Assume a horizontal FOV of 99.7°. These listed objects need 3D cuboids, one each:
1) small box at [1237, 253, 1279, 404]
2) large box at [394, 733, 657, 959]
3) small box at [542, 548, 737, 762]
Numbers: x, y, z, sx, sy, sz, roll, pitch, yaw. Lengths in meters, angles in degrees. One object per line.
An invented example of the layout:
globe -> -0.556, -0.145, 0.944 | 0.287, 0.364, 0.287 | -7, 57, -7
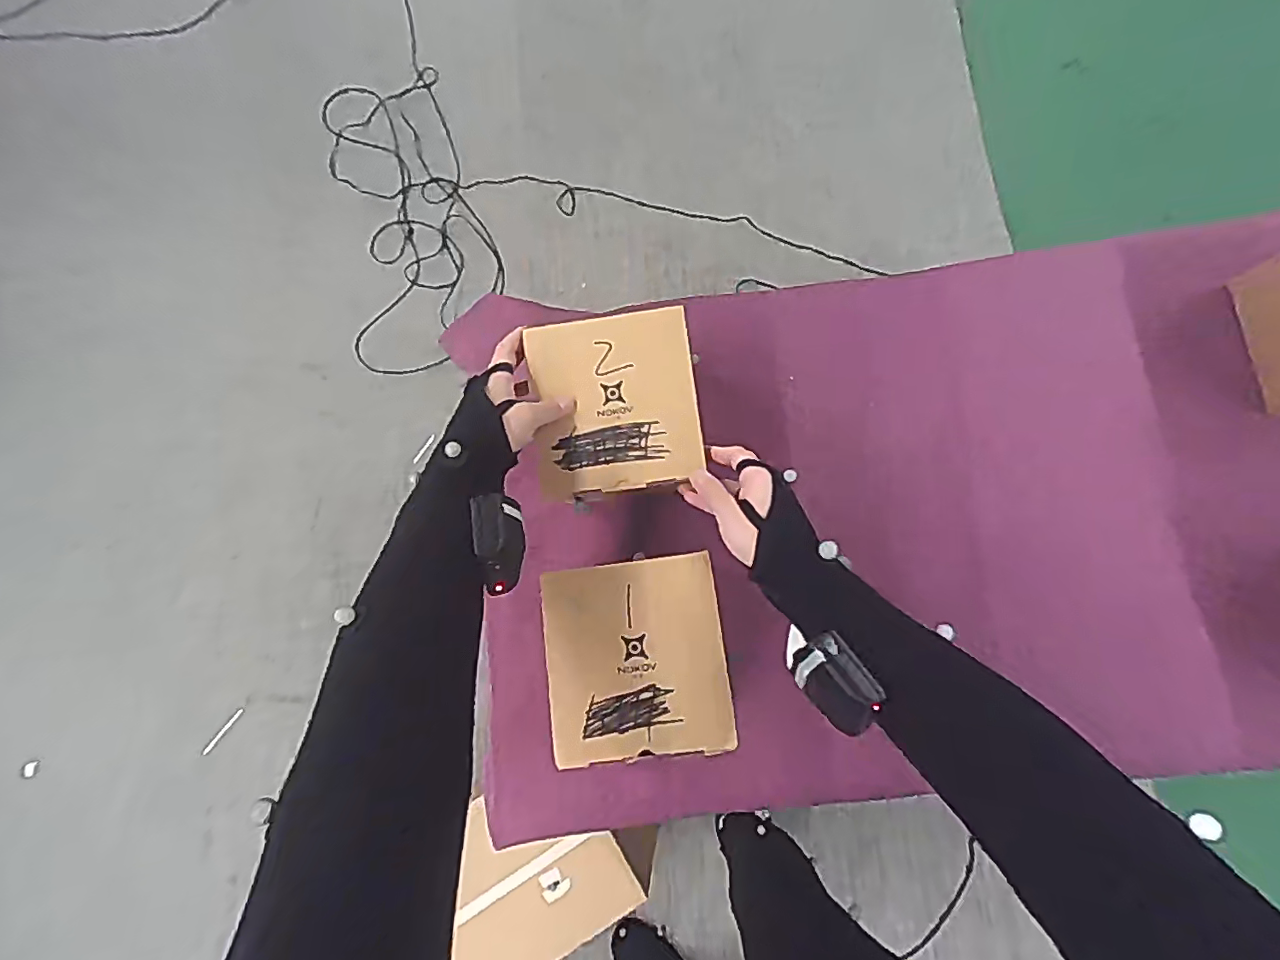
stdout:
small box -> 0.800, -0.187, 0.563 | 0.168, 0.176, 0.179 | -5, 79, 7
large box -> -0.215, 0.762, 1.150 | 0.408, 0.320, 0.320 | -33, 78, -3
small box -> 0.004, 0.174, 0.572 | 0.168, 0.176, 0.179 | -9, 76, 3
